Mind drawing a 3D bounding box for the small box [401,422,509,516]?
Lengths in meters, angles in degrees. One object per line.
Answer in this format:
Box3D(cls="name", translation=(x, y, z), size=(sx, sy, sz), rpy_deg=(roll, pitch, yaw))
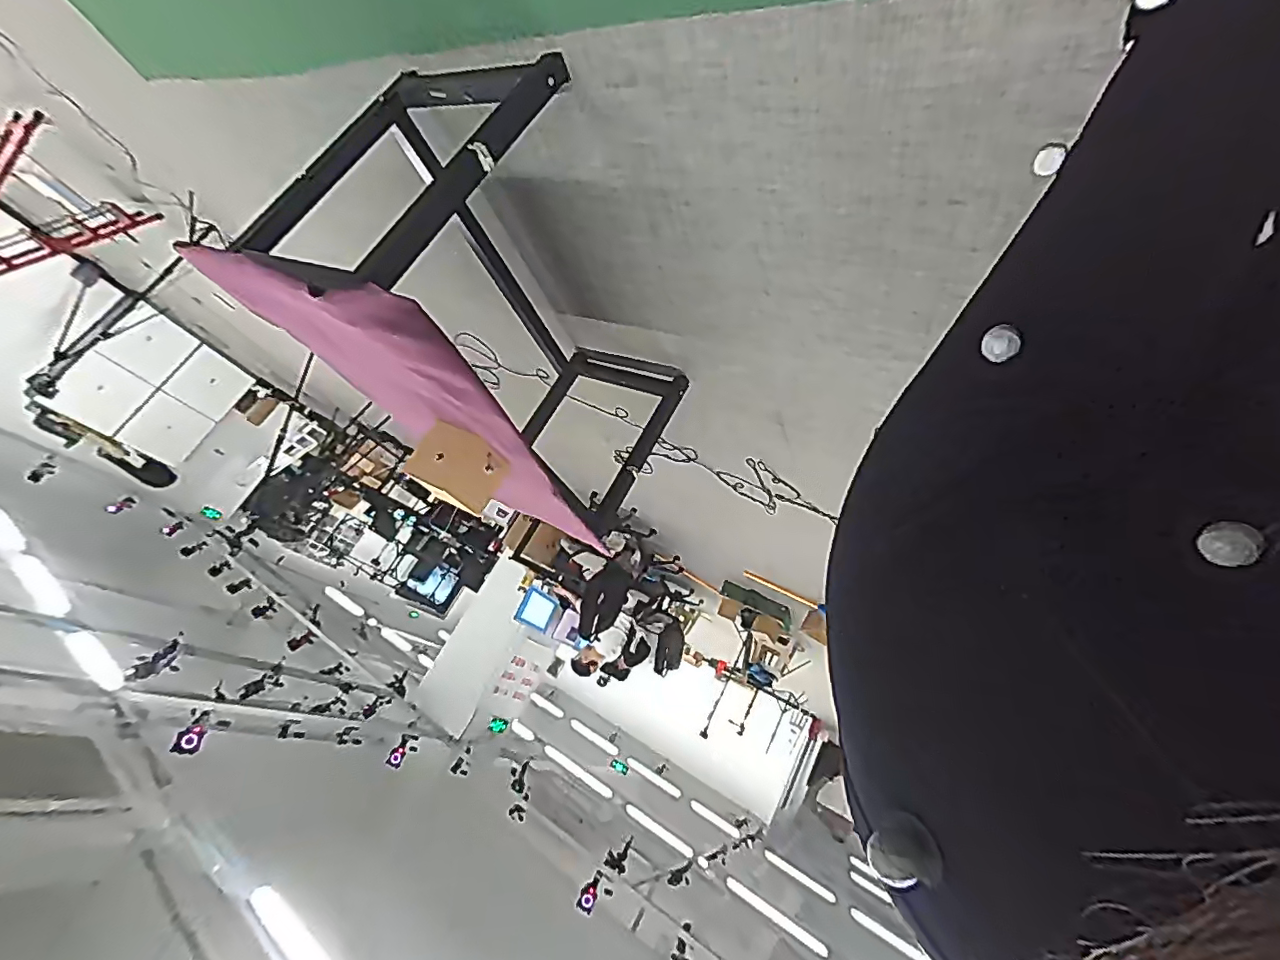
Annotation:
Box3D(cls="small box", translation=(-0.490, -0.034, 1.454), size=(0.179, 0.176, 0.168), rpy_deg=(21, 161, 28))
